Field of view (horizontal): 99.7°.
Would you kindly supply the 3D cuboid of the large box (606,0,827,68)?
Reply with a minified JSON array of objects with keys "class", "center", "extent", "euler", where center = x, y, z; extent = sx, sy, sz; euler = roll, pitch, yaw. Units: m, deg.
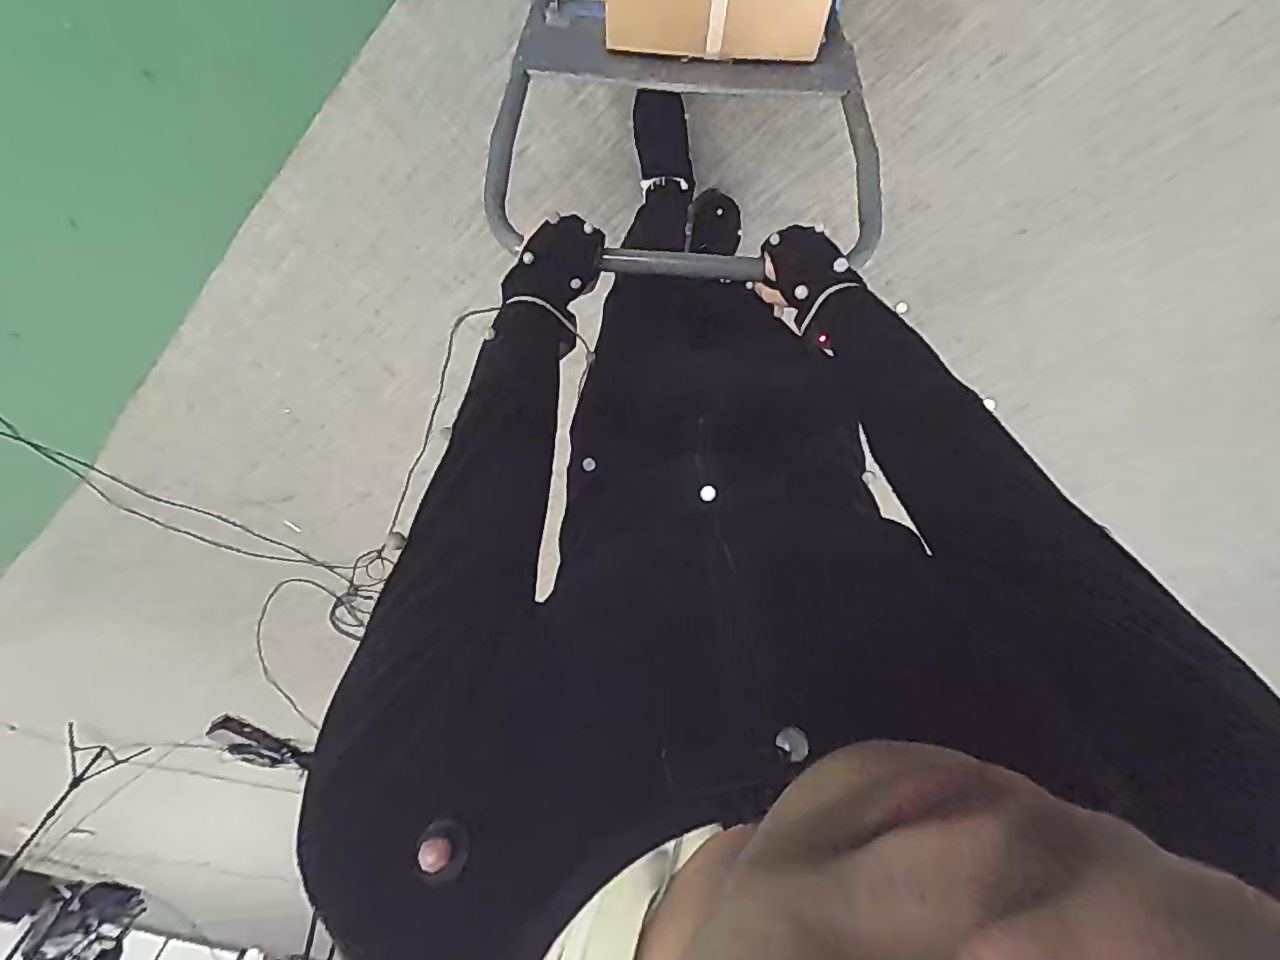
[{"class":"large box","center":[0.118,-0.864,0.737],"extent":[0.320,0.320,0.408],"euler":[3,147,0]}]
